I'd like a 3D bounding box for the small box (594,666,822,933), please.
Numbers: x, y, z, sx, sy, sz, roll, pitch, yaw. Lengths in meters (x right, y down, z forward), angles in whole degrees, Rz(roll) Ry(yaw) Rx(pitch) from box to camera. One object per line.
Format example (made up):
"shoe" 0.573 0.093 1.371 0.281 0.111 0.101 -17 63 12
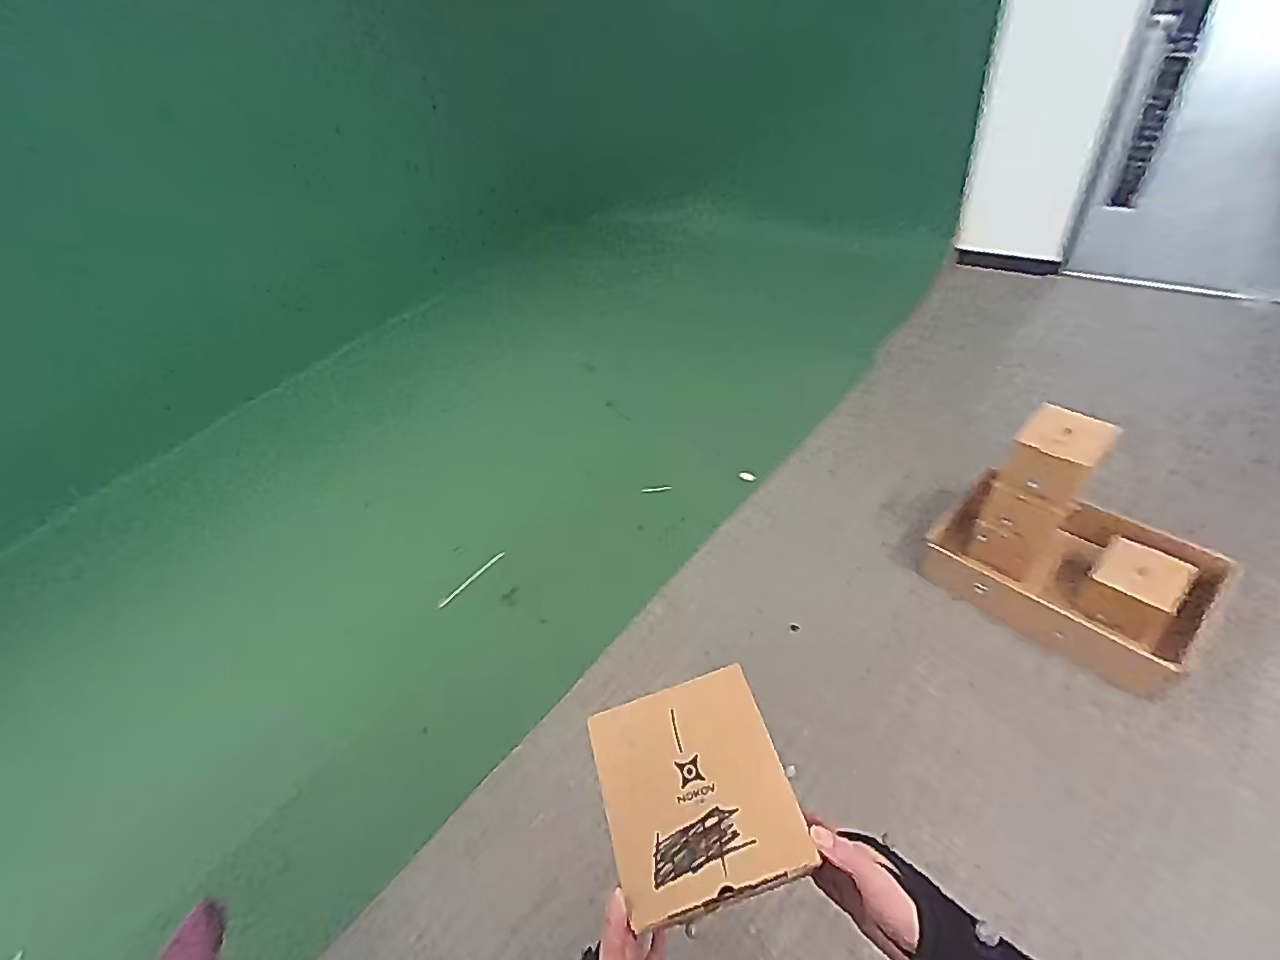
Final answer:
"small box" 0.067 0.322 0.547 0.168 0.176 0.179 -19 49 -2

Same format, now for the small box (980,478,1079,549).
"small box" 1.083 0.054 1.505 0.179 0.176 0.168 -39 49 -21

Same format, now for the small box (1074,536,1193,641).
"small box" 1.302 0.289 1.440 0.179 0.176 0.168 -40 47 -20

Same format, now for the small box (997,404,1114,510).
"small box" 1.056 -0.059 1.389 0.179 0.176 0.168 -39 49 -21
